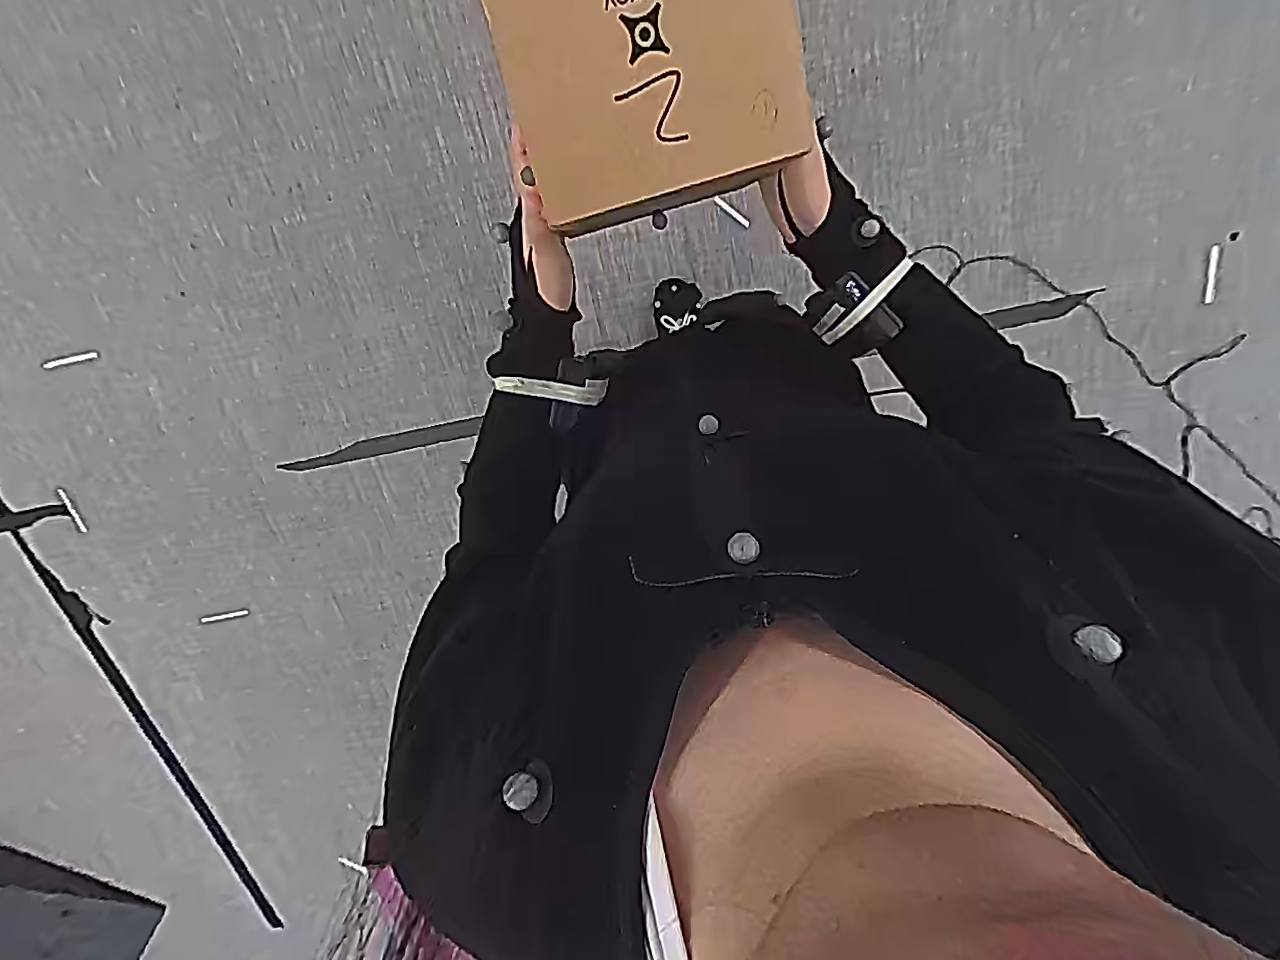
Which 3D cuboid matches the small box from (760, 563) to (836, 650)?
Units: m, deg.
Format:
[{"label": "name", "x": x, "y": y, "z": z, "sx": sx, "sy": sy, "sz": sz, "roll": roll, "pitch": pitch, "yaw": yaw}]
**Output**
[{"label": "small box", "x": 0.451, "y": 0.356, "z": 1.561, "sx": 0.168, "sy": 0.176, "sz": 0.179, "roll": -11, "pitch": 109, "yaw": 3}]
